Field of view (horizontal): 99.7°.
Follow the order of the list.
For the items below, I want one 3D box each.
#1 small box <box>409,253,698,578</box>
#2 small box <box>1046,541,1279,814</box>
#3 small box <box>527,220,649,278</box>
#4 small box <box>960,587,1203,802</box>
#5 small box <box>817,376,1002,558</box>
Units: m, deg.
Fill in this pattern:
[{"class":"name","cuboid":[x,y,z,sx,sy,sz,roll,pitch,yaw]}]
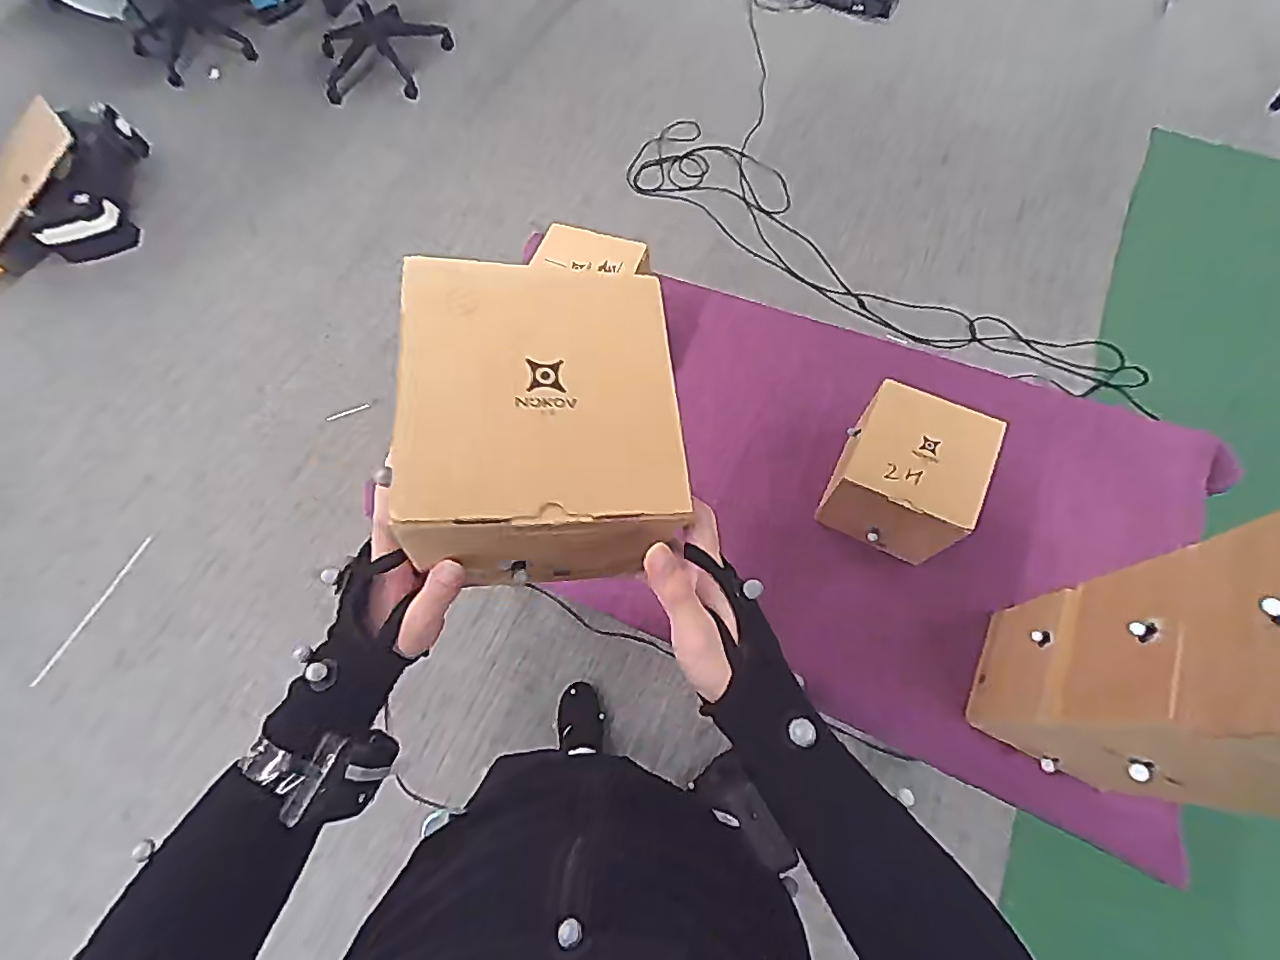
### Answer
[{"class":"small box","cuboid":[-0.073,-0.032,0.401,0.168,0.176,0.179,-1,71,-17]},{"class":"small box","cuboid":[0.536,0.190,0.518,0.168,0.176,0.179,25,70,15]},{"class":"small box","cuboid":[-0.089,-0.310,0.939,0.179,0.176,0.168,18,70,11]},{"class":"small box","cuboid":[0.542,0.257,0.667,0.179,0.176,0.168,25,70,13]},{"class":"small box","cuboid":[0.380,-0.012,0.790,0.168,0.176,0.179,26,71,14]}]
